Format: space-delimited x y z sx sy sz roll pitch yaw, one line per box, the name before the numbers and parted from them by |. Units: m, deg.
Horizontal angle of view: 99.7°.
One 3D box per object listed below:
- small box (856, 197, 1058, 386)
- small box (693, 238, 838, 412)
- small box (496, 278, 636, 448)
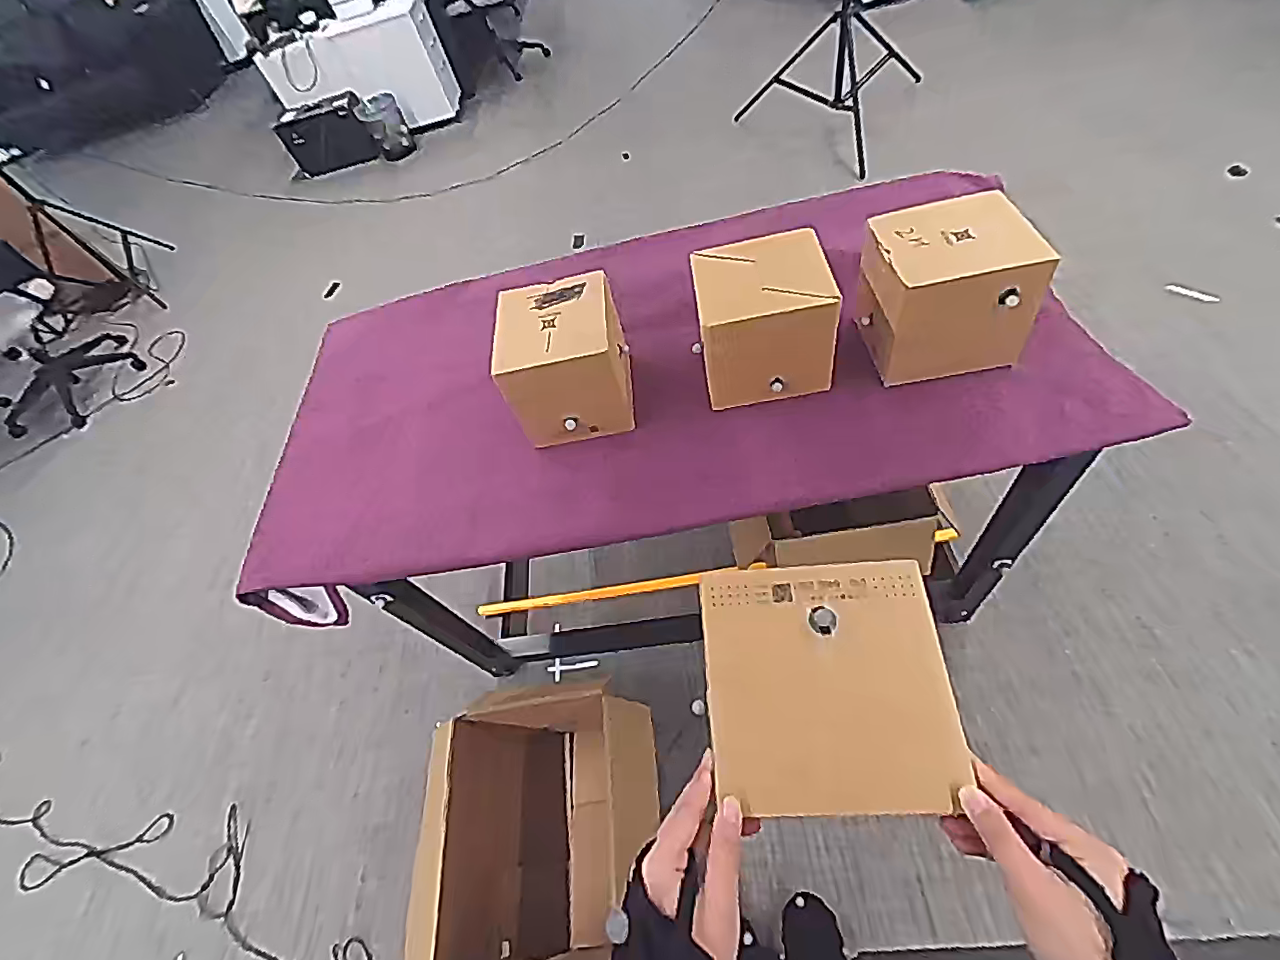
small box | 0.418 -0.255 0.752 0.179 0.176 0.168 -9 52 8
small box | 0.177 -0.226 0.792 0.179 0.176 0.168 -9 53 9
small box | -0.105 -0.175 0.833 0.168 0.176 0.179 -10 55 7
